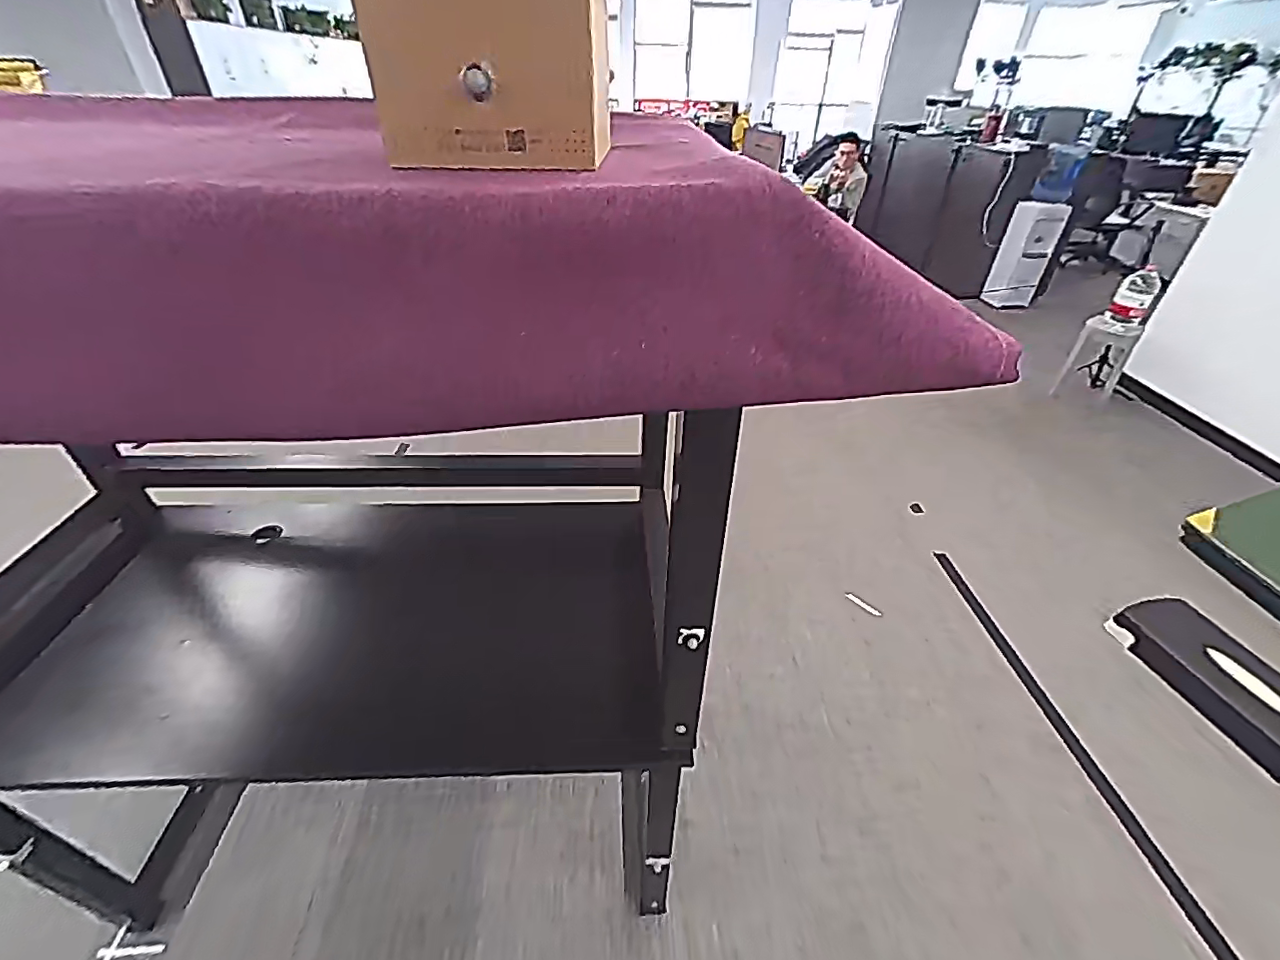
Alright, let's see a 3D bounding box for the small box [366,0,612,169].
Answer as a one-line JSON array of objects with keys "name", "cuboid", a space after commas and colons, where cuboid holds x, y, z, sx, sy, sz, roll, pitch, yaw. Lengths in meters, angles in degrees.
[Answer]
[{"name": "small box", "cuboid": [-0.111, -0.363, 0.442, 0.168, 0.176, 0.179, 1, 36, 1]}]
